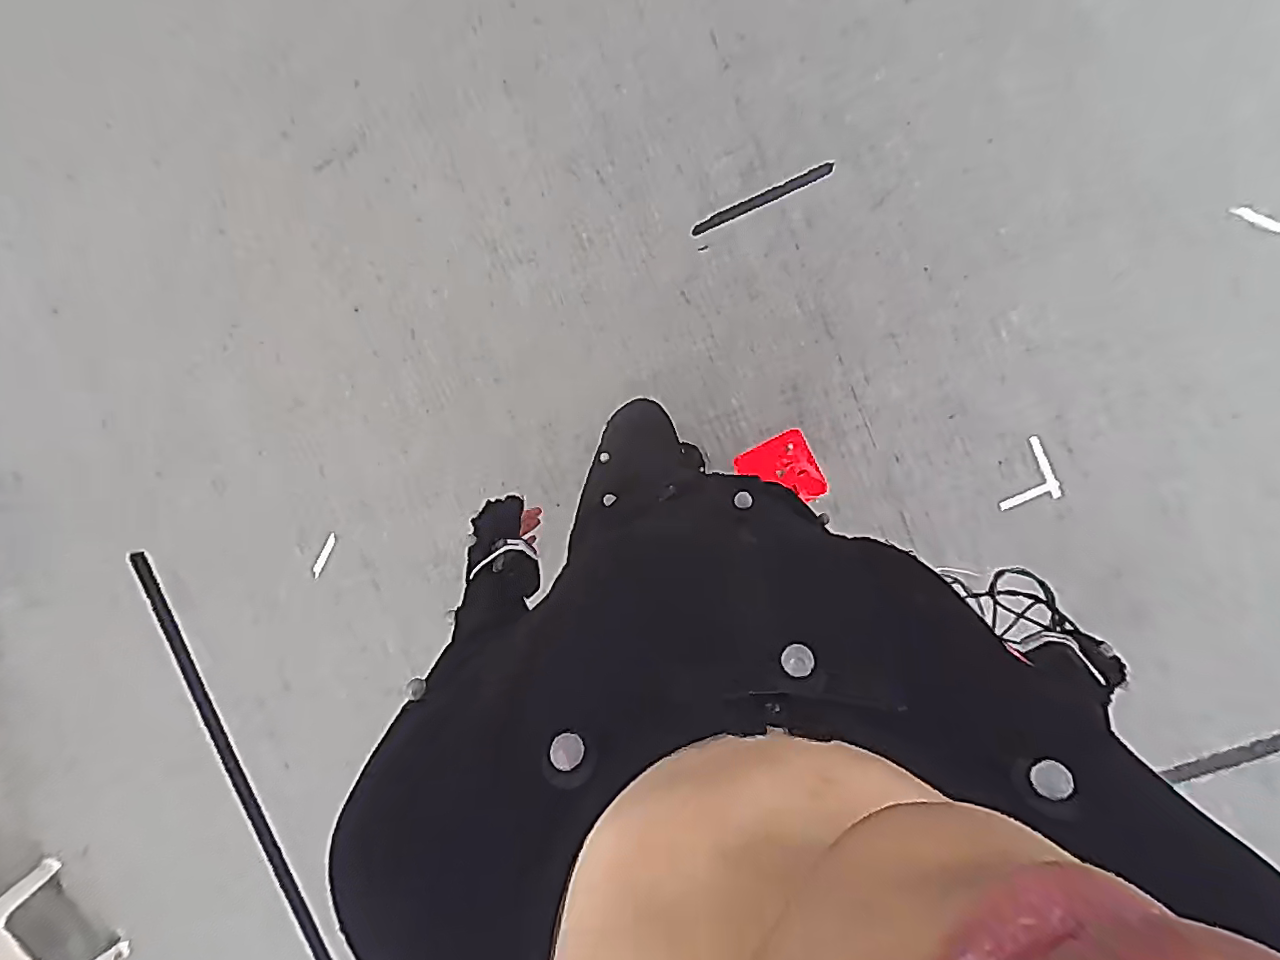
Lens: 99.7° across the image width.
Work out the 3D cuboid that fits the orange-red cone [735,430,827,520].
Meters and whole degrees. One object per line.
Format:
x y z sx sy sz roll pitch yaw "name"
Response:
0.364 0.001 1.267 0.199 0.360 0.198 -26 92 6 "orange-red cone"
